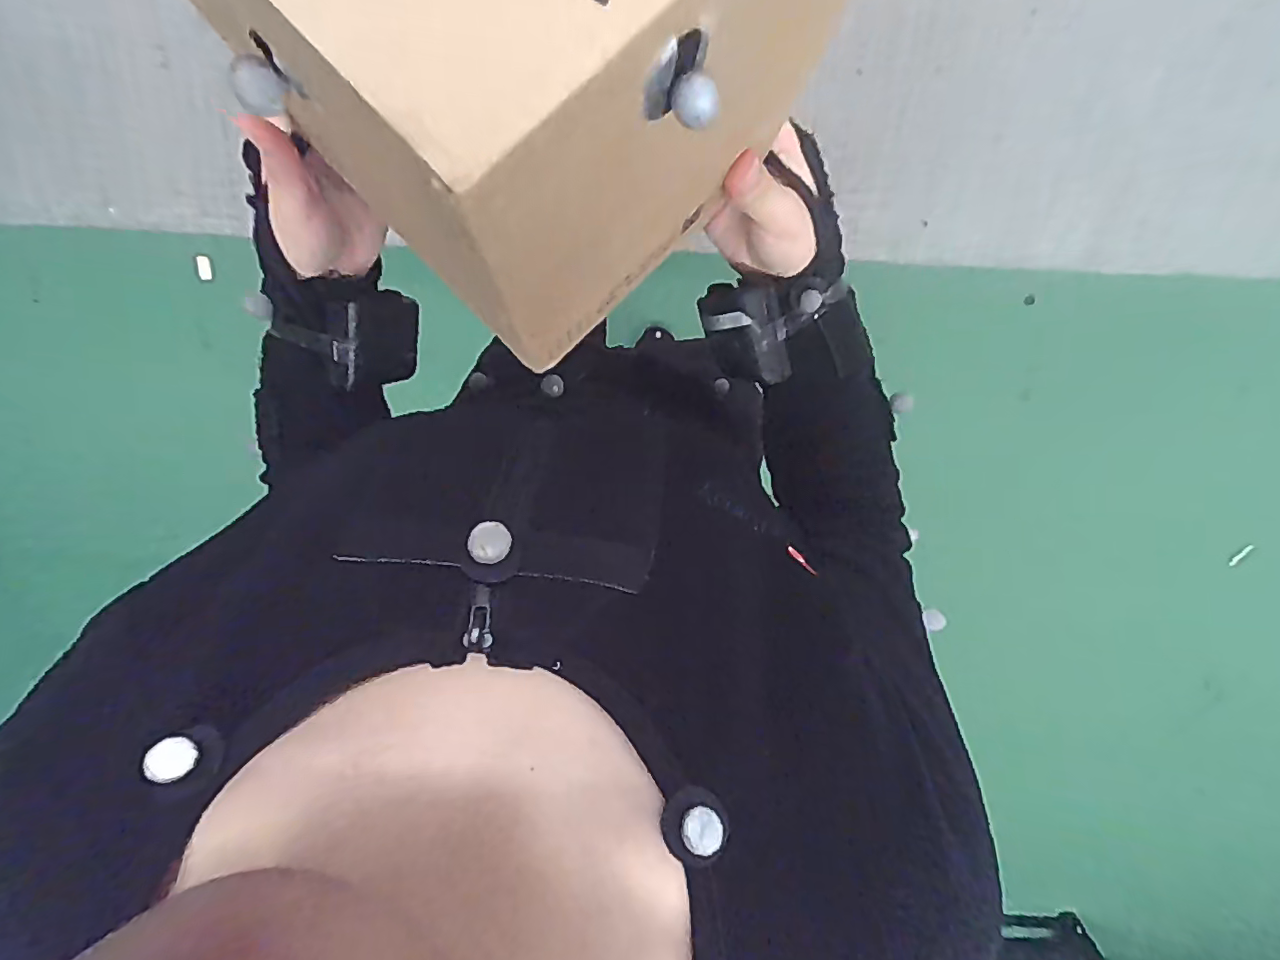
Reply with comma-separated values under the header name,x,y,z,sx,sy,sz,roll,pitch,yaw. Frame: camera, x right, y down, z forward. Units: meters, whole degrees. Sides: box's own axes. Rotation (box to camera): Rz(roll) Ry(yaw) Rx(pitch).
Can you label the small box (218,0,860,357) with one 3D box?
name,x,y,z,sx,sy,sz,roll,pitch,yaw
small box,-0.040,-0.173,0.202,0.179,0.176,0.168,45,86,-2
